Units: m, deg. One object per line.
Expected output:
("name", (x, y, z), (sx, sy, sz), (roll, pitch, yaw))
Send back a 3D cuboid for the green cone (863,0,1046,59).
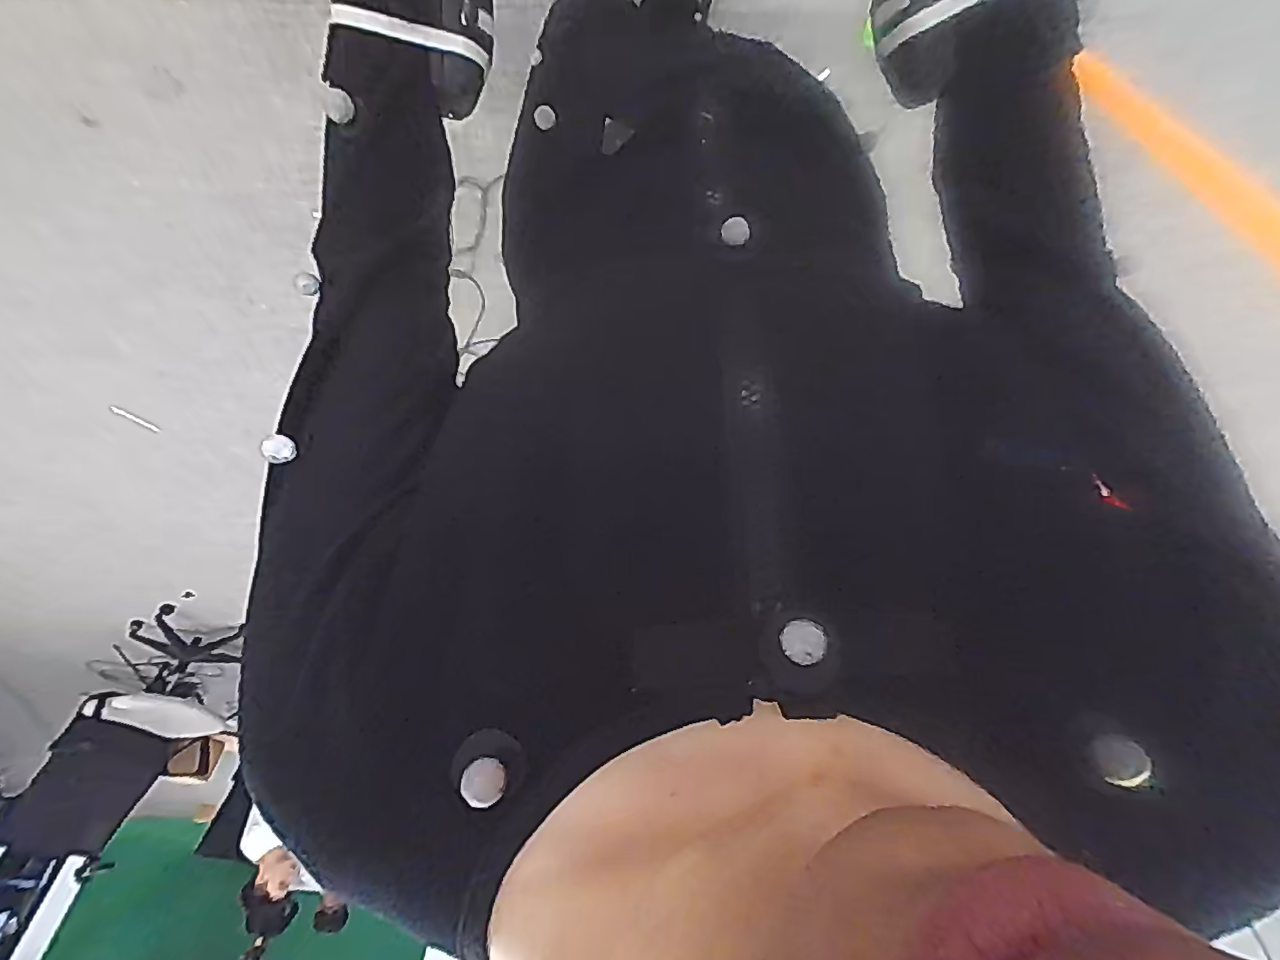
("green cone", (0.528, -0.760, 0.860), (0.202, 0.368, 0.200), (3, 139, -4))
